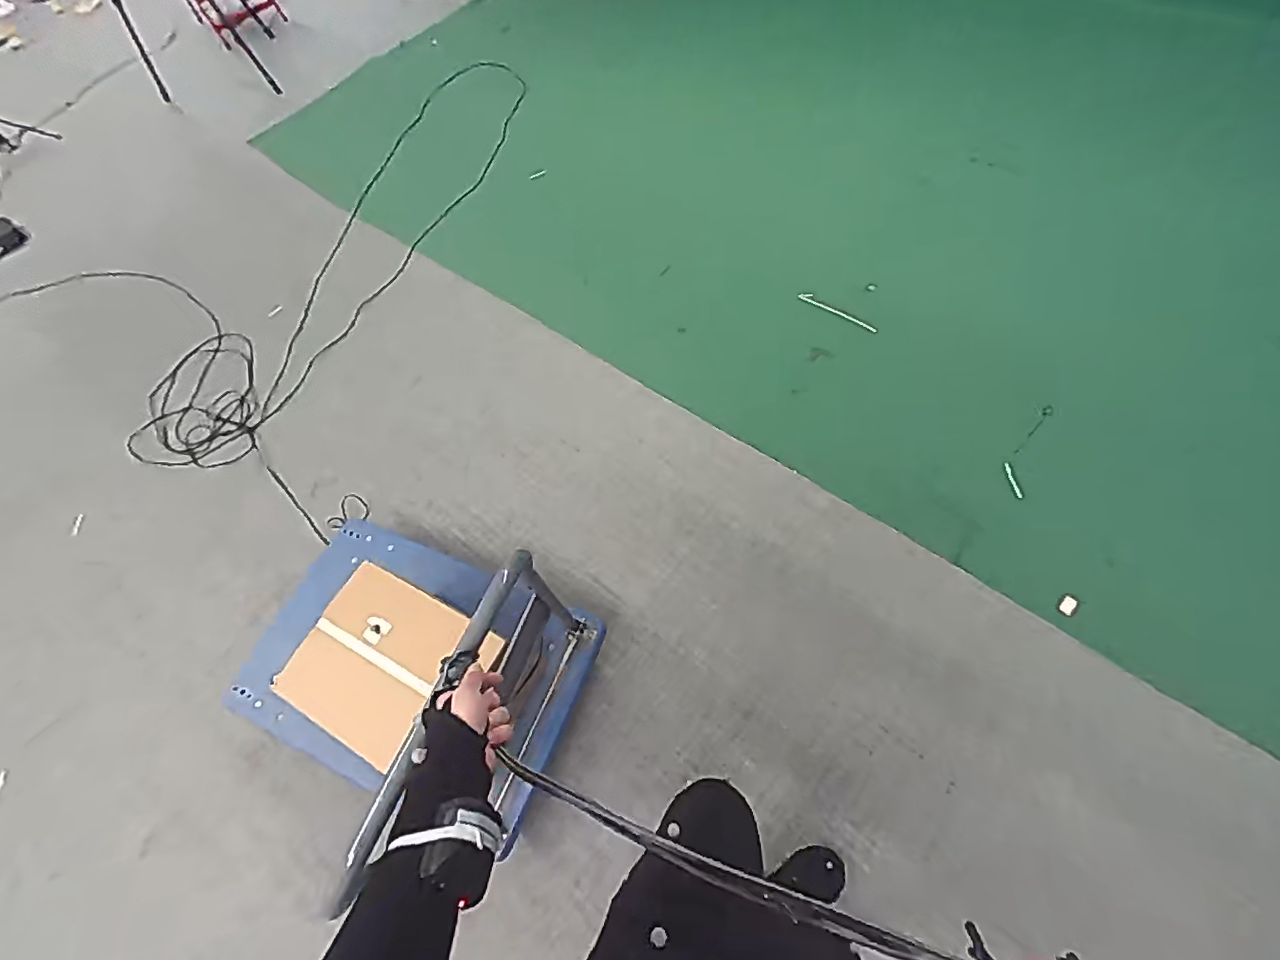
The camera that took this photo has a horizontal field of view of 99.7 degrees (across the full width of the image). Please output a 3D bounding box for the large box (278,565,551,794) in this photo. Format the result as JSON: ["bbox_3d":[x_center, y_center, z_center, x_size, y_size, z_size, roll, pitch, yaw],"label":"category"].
[{"bbox_3d":[-0.477,0.446,1.224,0.408,0.320,0.320,22,68,19],"label":"large box"}]
